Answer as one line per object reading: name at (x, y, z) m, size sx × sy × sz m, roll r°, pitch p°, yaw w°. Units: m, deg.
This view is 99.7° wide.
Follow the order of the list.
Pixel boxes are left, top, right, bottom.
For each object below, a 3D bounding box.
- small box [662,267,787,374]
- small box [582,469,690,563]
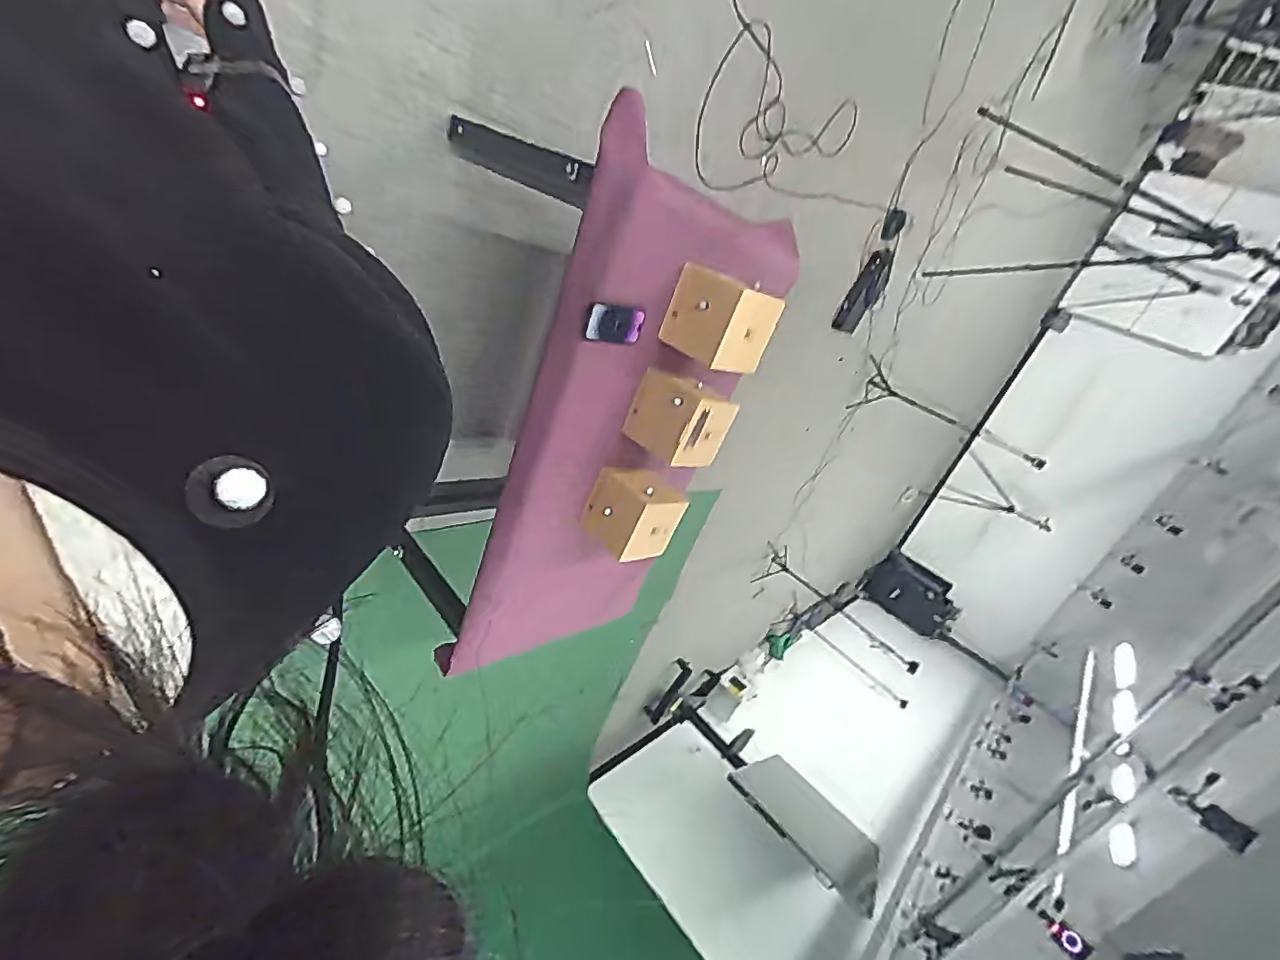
small box at (0.176, -0.344, 1.166) m, size 0.179 × 0.176 × 0.168 m, roll -8°, pitch 127°, yaw -48°
small box at (-0.015, 0.083, 1.344) m, size 0.179 × 0.176 × 0.168 m, roll 0°, pitch 122°, yaw -52°
